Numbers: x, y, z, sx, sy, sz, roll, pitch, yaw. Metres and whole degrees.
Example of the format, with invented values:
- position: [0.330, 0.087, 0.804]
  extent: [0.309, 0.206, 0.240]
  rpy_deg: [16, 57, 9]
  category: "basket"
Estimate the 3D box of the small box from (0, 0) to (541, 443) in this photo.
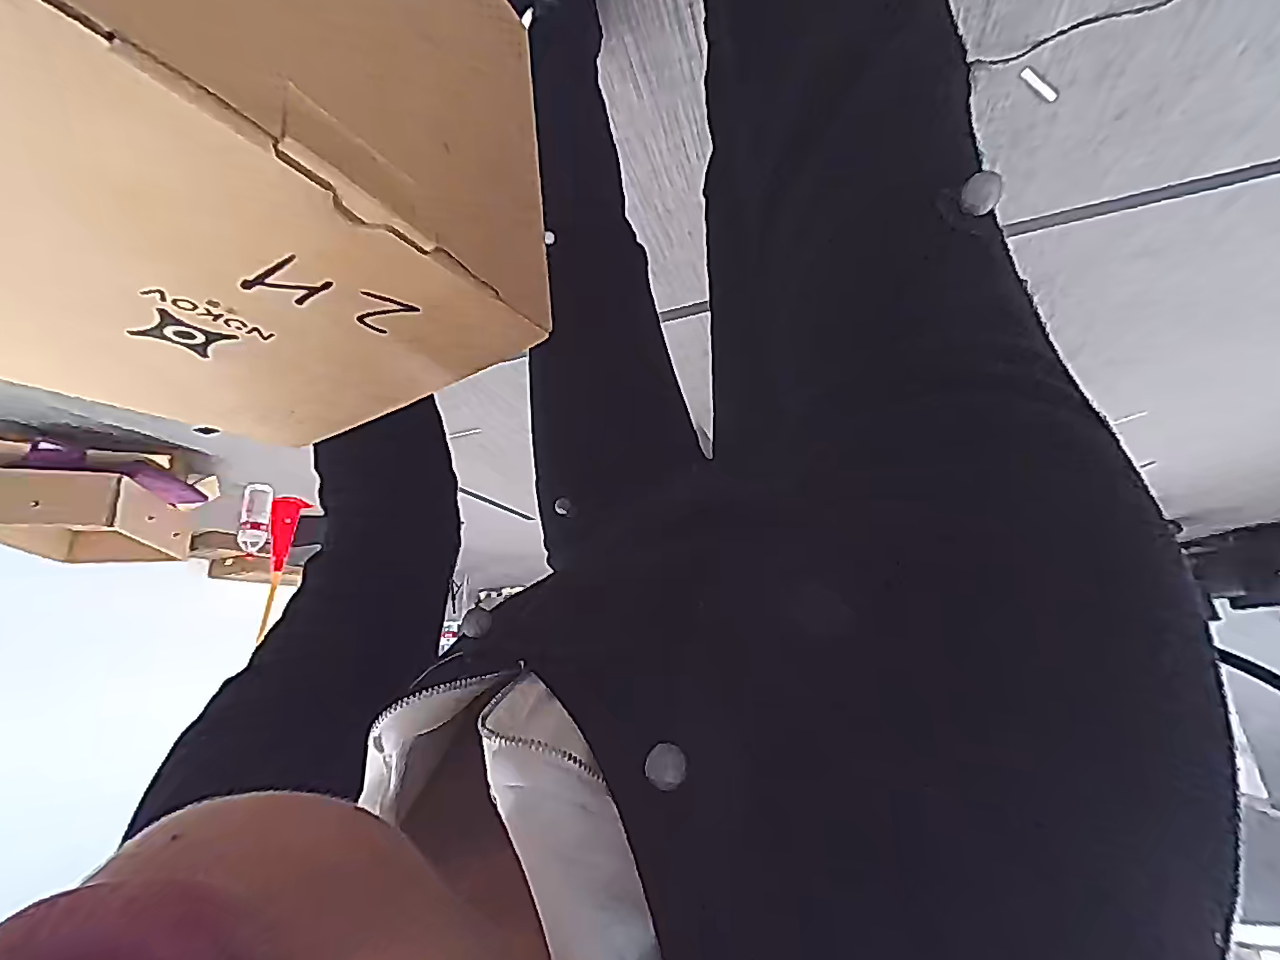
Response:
- position: [-0.159, -0.134, 0.210]
  extent: [0.179, 0.176, 0.168]
  rpy_deg: [-16, 162, 25]
  category: "small box"
